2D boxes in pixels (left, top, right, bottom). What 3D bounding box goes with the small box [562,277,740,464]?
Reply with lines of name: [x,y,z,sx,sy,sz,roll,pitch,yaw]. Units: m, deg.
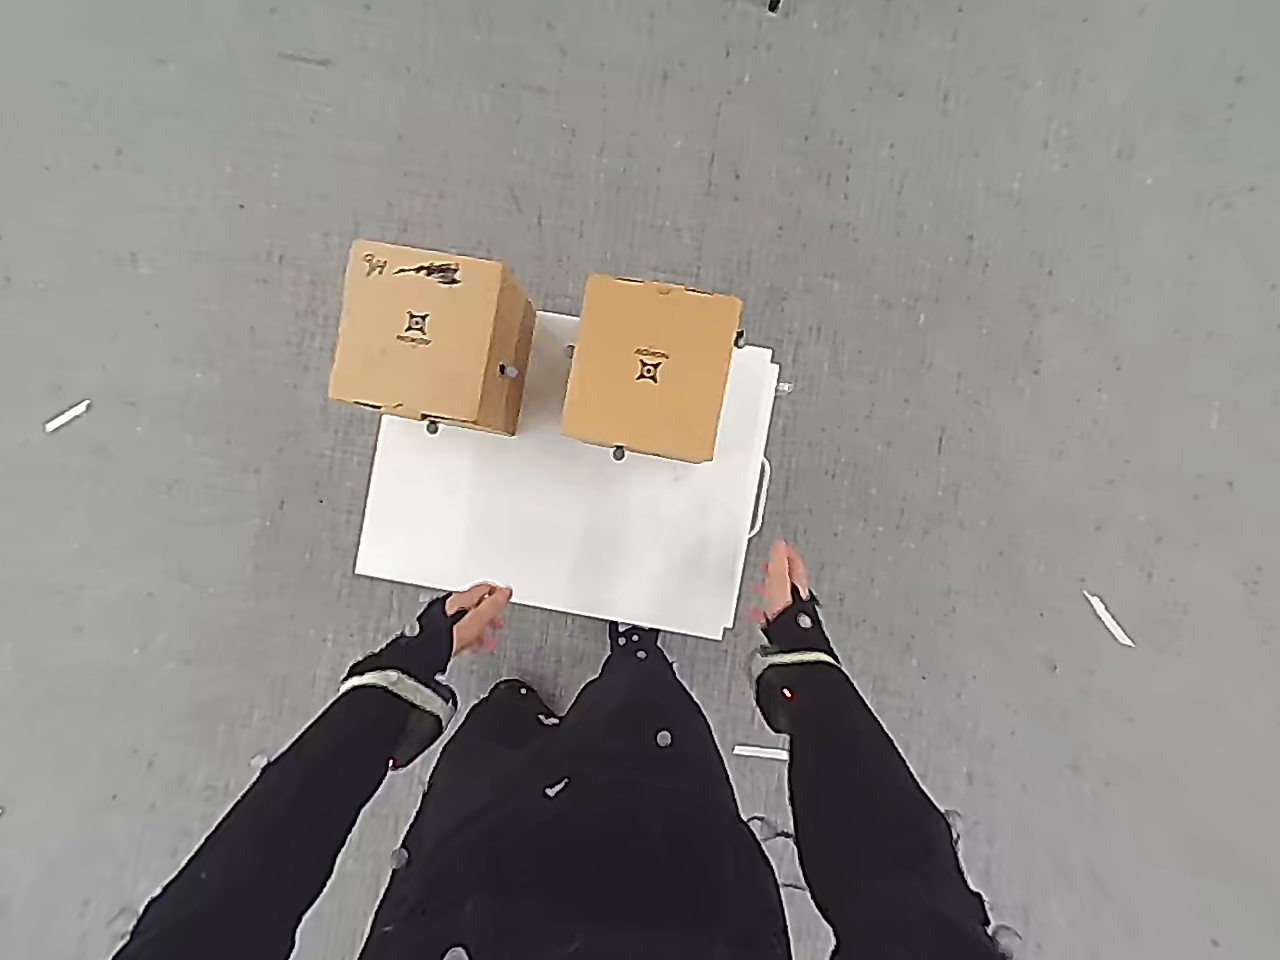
small box: [0.015,-0.117,0.650,0.168,0.176,0.179,10,90,2]

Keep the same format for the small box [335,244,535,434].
small box: [-0.233,-0.155,0.657,0.168,0.176,0.179,10,92,1]
